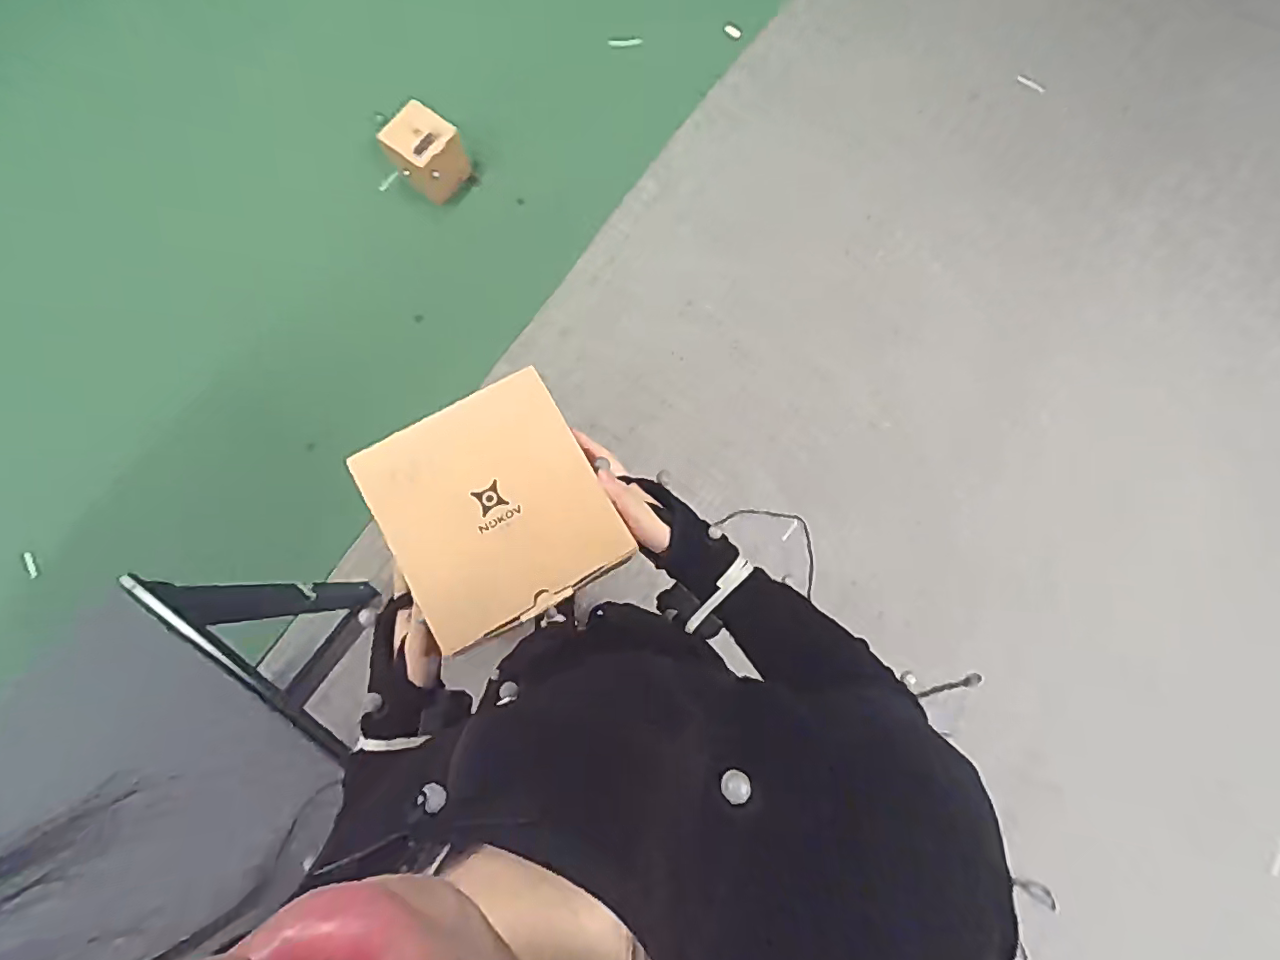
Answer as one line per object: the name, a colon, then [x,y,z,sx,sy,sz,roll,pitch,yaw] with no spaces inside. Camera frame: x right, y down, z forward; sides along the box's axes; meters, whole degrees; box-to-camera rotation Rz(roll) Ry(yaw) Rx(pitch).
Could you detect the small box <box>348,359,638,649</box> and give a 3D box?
small box: [-0.118,0.028,0.490,0.168,0.176,0.179,-29,83,-8]
